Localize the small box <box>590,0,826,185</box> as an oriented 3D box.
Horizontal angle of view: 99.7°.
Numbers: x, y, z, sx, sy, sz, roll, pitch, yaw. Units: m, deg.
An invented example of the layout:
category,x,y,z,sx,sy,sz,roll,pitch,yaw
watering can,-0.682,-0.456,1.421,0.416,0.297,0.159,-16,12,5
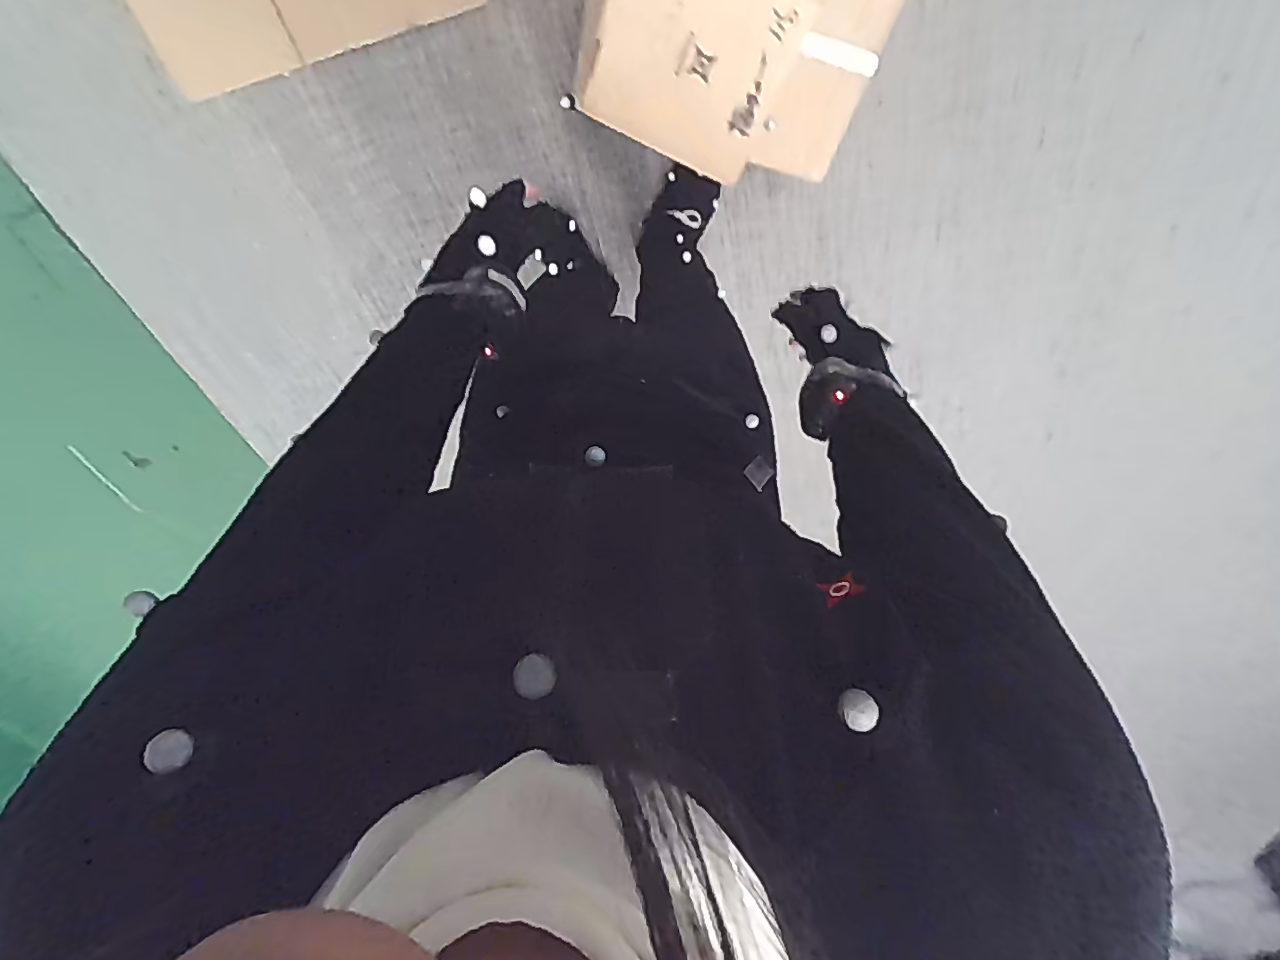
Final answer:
category,x,y,z,sx,sy,sz,roll,pitch,yaw
small box,0.064,-0.444,0.573,0.179,0.176,0.168,19,128,-8
